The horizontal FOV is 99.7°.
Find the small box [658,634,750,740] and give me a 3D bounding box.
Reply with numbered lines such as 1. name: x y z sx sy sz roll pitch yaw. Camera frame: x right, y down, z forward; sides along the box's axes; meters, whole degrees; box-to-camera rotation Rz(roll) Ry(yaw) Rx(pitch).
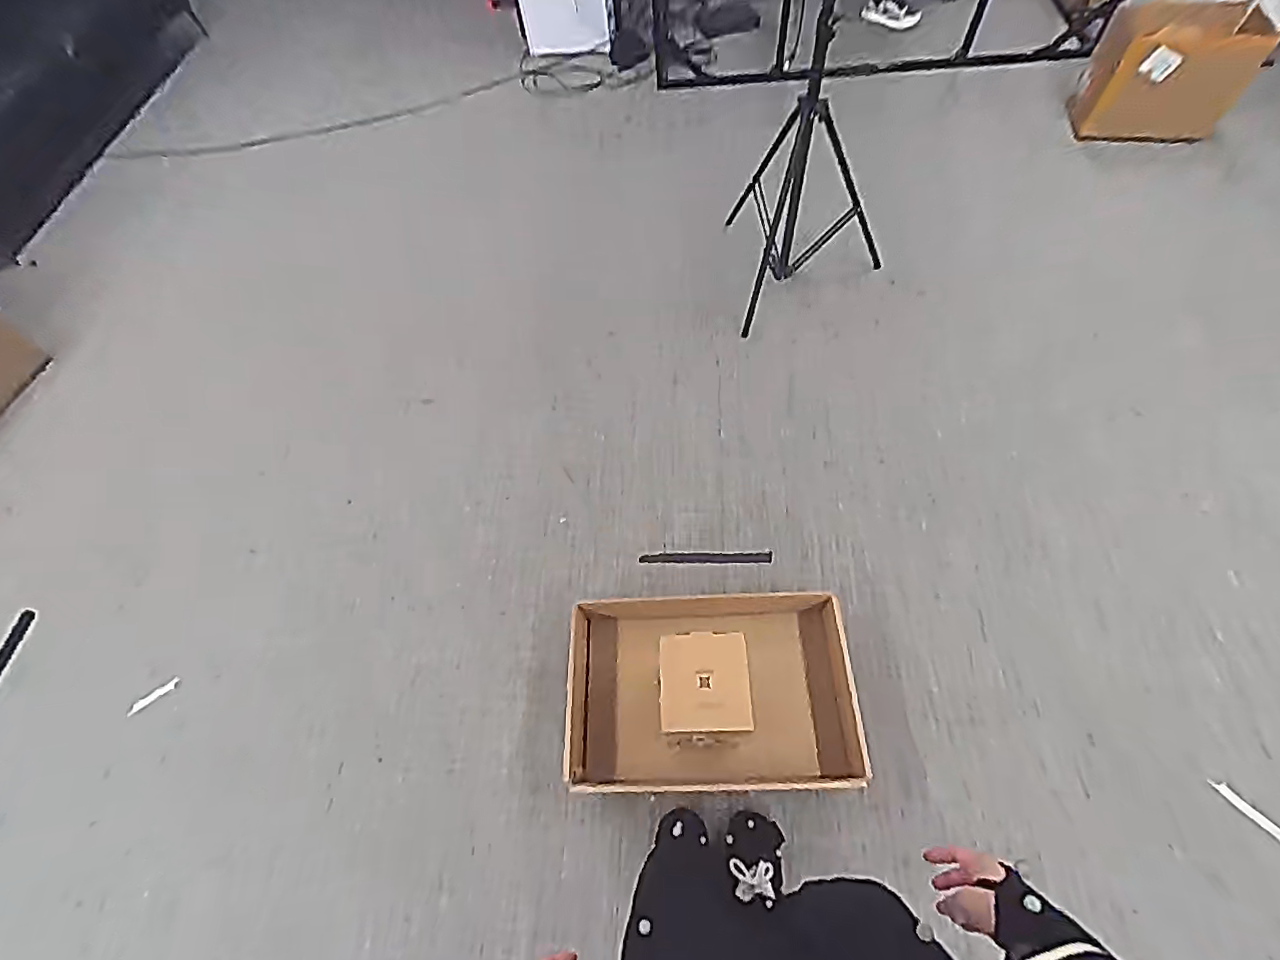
1. small box: 0.122 0.415 1.077 0.168 0.176 0.179 -4 61 4
